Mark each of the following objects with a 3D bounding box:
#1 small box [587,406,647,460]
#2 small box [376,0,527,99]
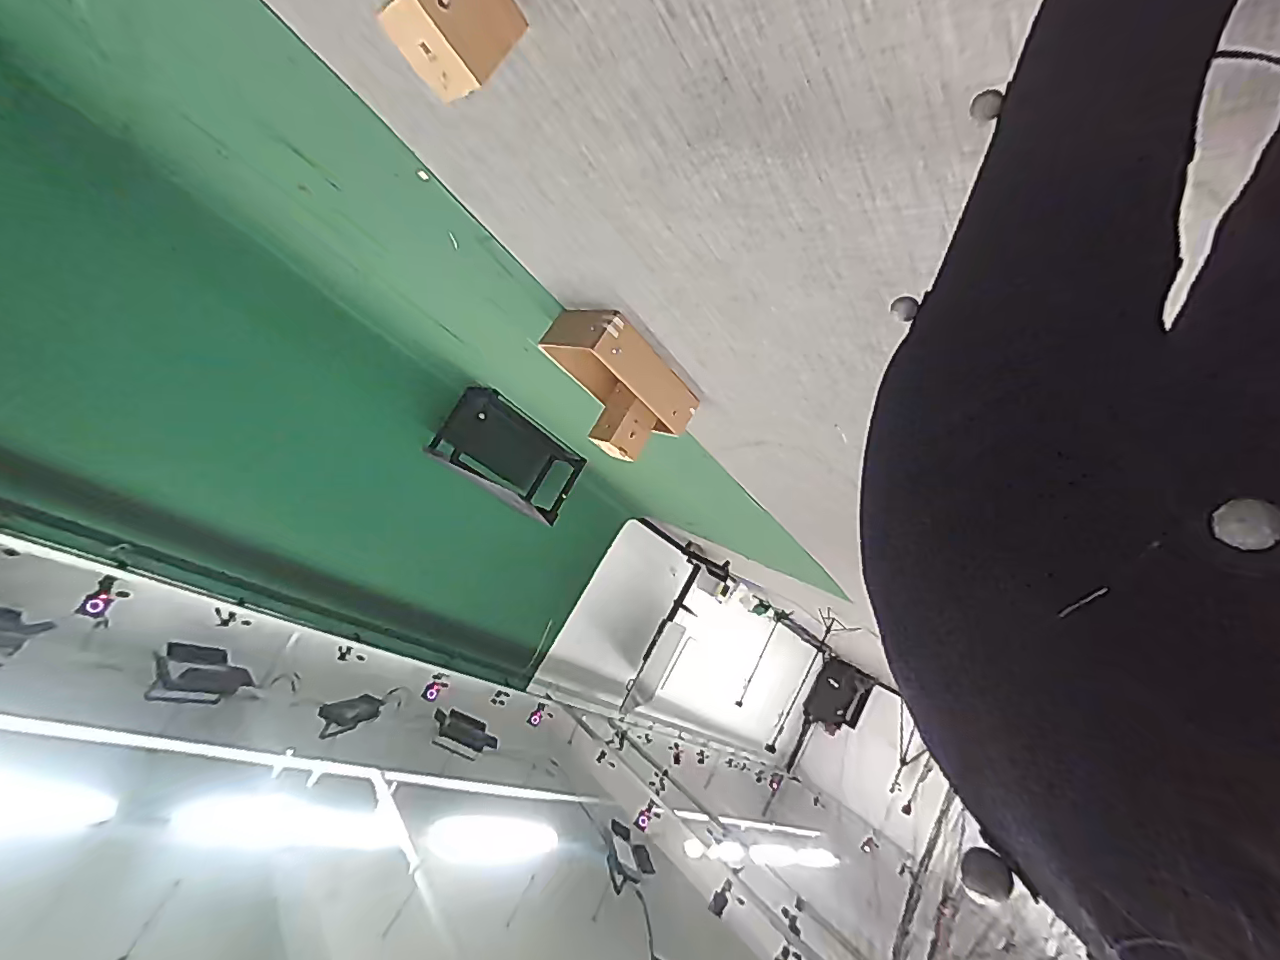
[{"bbox_3d":[-0.091,-0.207,2.355,0.179,0.176,0.168,16,163,49],"label":"small box"},{"bbox_3d":[-0.356,-0.887,1.037,0.168,0.176,0.179,22,167,42],"label":"small box"}]
